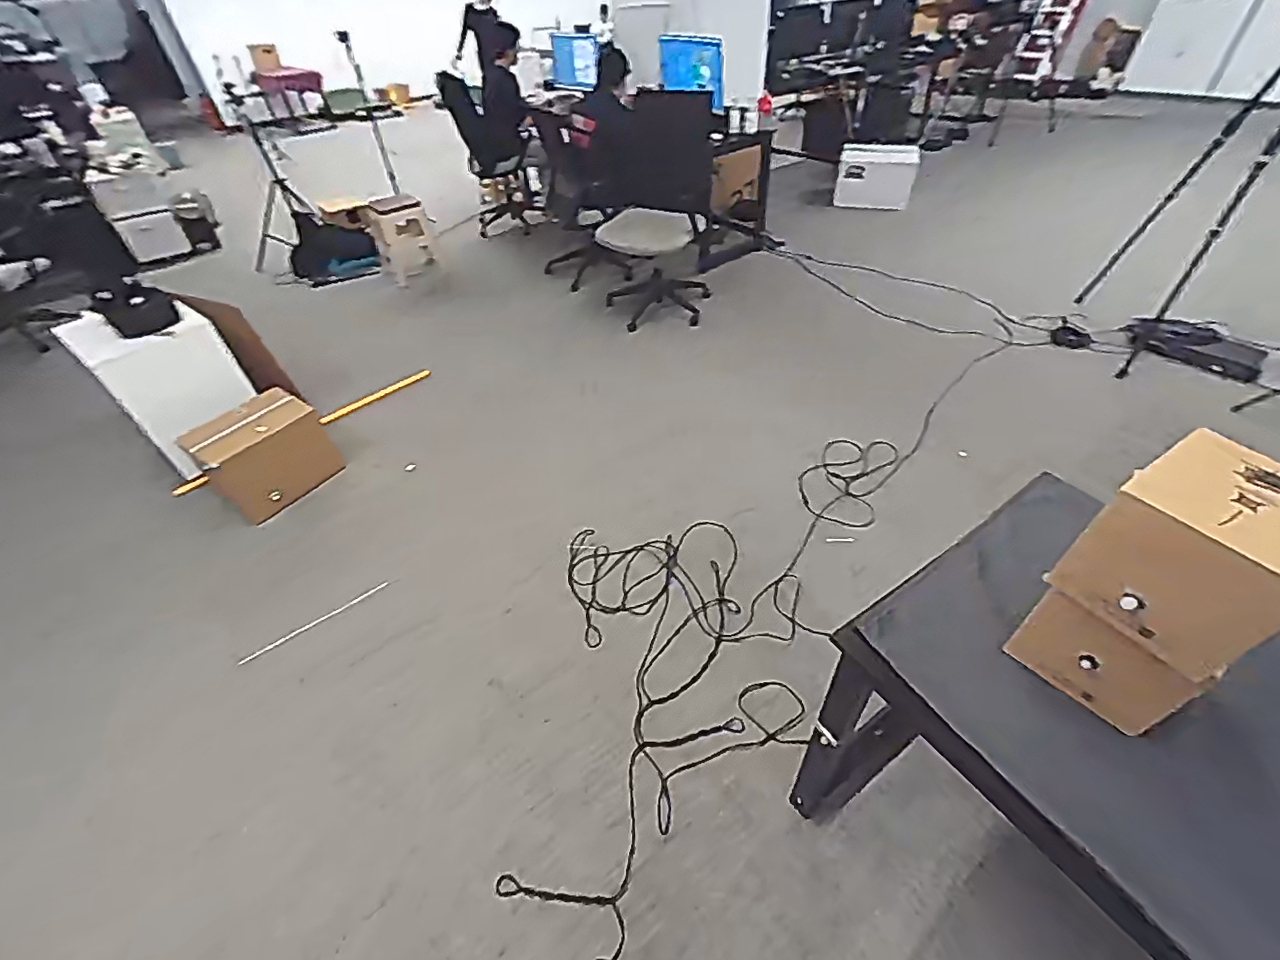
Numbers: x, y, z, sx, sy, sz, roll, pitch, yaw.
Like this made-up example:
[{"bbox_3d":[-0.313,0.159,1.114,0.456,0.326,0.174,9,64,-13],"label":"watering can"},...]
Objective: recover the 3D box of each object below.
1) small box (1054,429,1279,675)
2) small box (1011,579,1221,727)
[{"bbox_3d":[0.618,0.078,0.603,0.179,0.176,0.168,-25,48,-20],"label":"small box"},{"bbox_3d":[0.638,0.190,0.722,0.179,0.176,0.168,-31,50,-26],"label":"small box"}]
